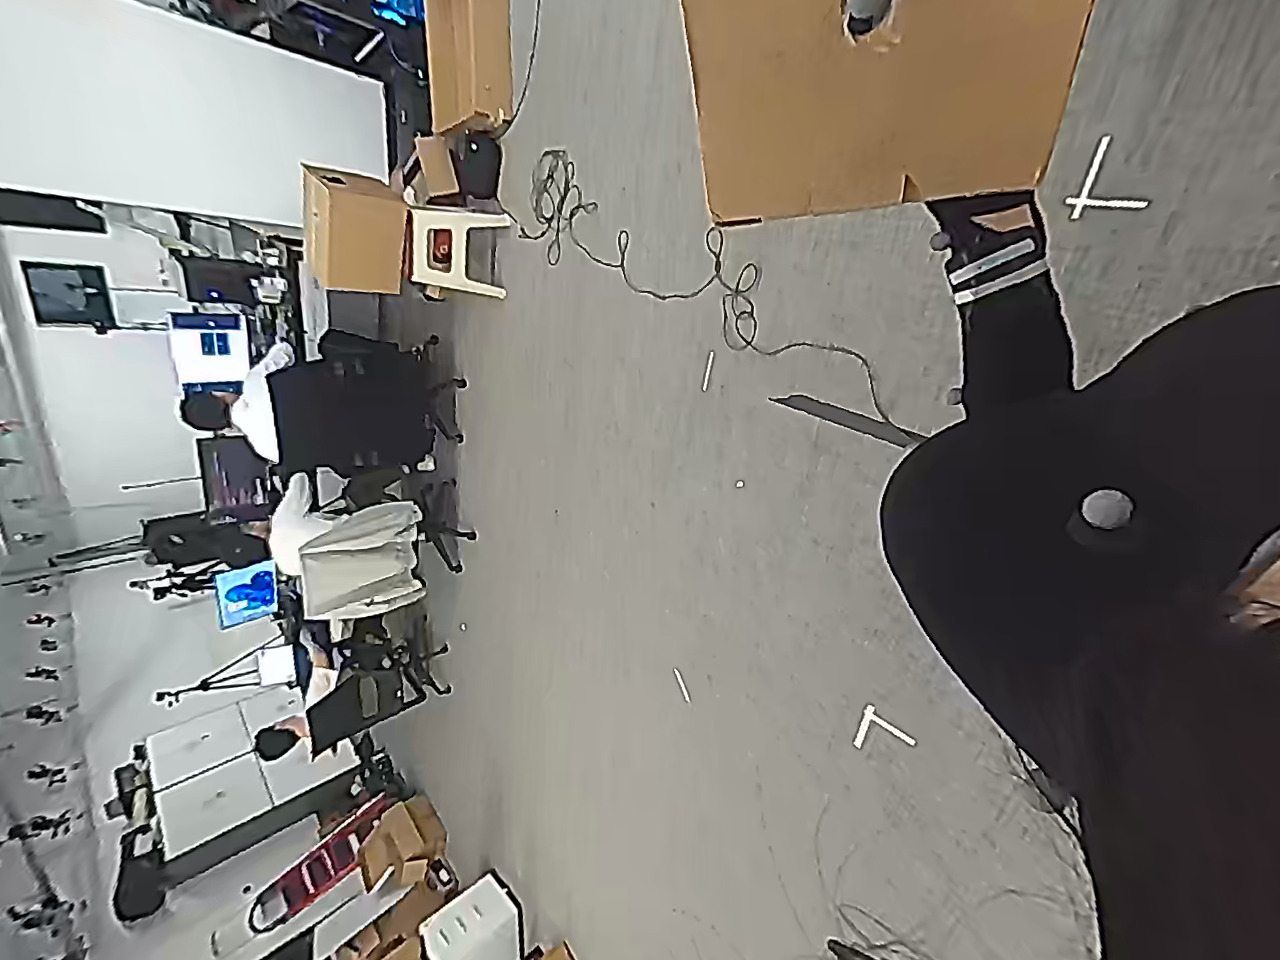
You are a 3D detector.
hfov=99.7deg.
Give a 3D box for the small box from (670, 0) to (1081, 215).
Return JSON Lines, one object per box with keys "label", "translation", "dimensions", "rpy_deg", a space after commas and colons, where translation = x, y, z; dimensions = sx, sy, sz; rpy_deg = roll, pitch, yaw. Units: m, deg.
{"label": "small box", "translation": [0.113, -0.263, 0.271], "dimensions": [0.168, 0.179, 0.176], "rpy_deg": [5, 138, 23]}
